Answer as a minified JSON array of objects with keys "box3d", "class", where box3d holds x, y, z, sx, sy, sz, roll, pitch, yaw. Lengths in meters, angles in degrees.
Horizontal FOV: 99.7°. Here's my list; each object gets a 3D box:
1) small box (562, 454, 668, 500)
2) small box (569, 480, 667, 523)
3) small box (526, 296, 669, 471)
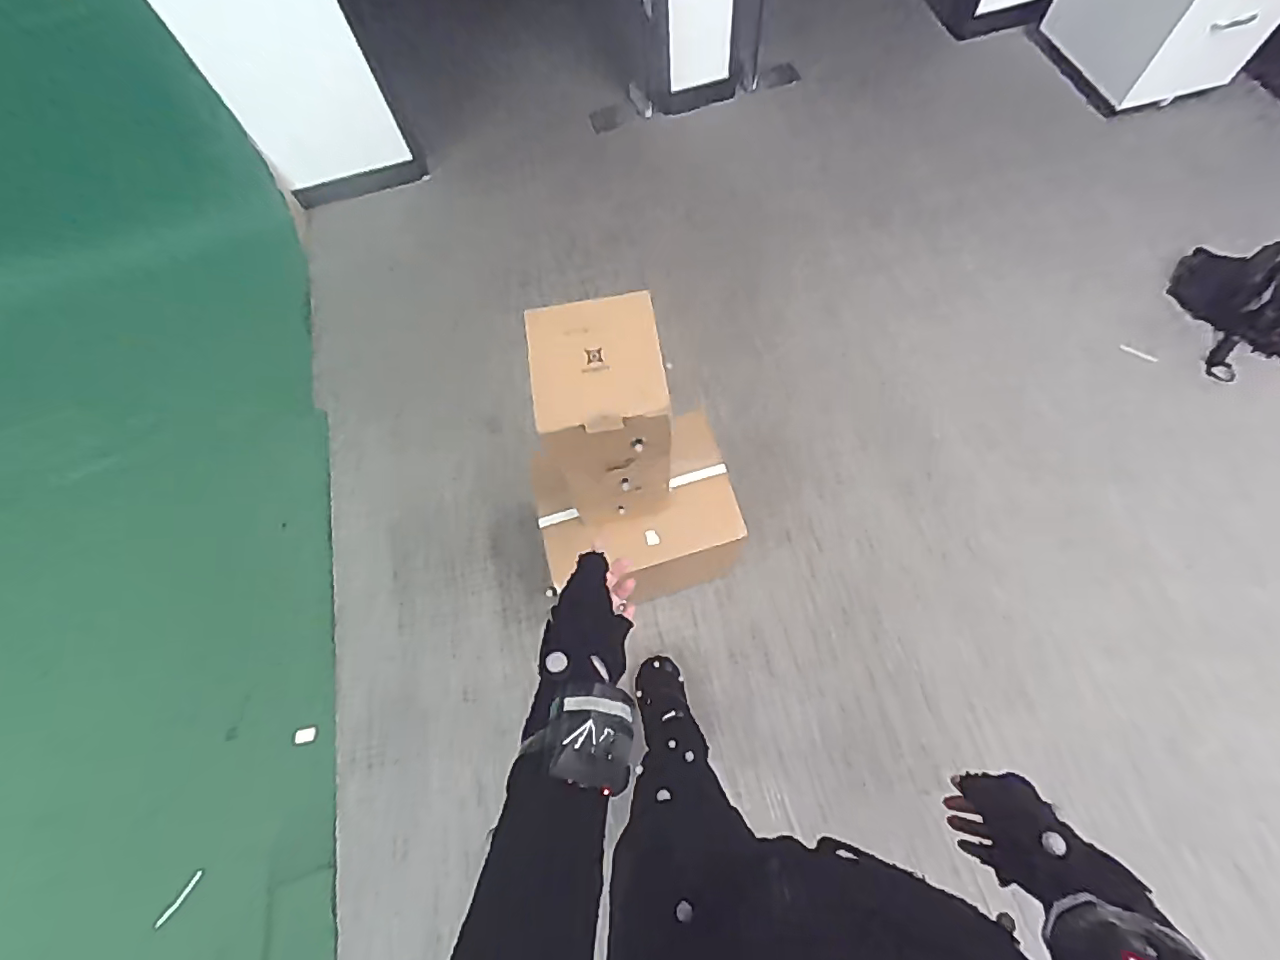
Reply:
[{"box3d":[-0.051,-0.076,0.907,0.168,0.176,0.179,-16,72,-2],"class":"small box"},{"box3d":[-0.046,-0.023,1.058,0.179,0.176,0.168,-9,70,0],"class":"small box"},{"box3d":[-0.052,-0.121,0.750,0.168,0.176,0.179,-9,71,-1],"class":"small box"}]
